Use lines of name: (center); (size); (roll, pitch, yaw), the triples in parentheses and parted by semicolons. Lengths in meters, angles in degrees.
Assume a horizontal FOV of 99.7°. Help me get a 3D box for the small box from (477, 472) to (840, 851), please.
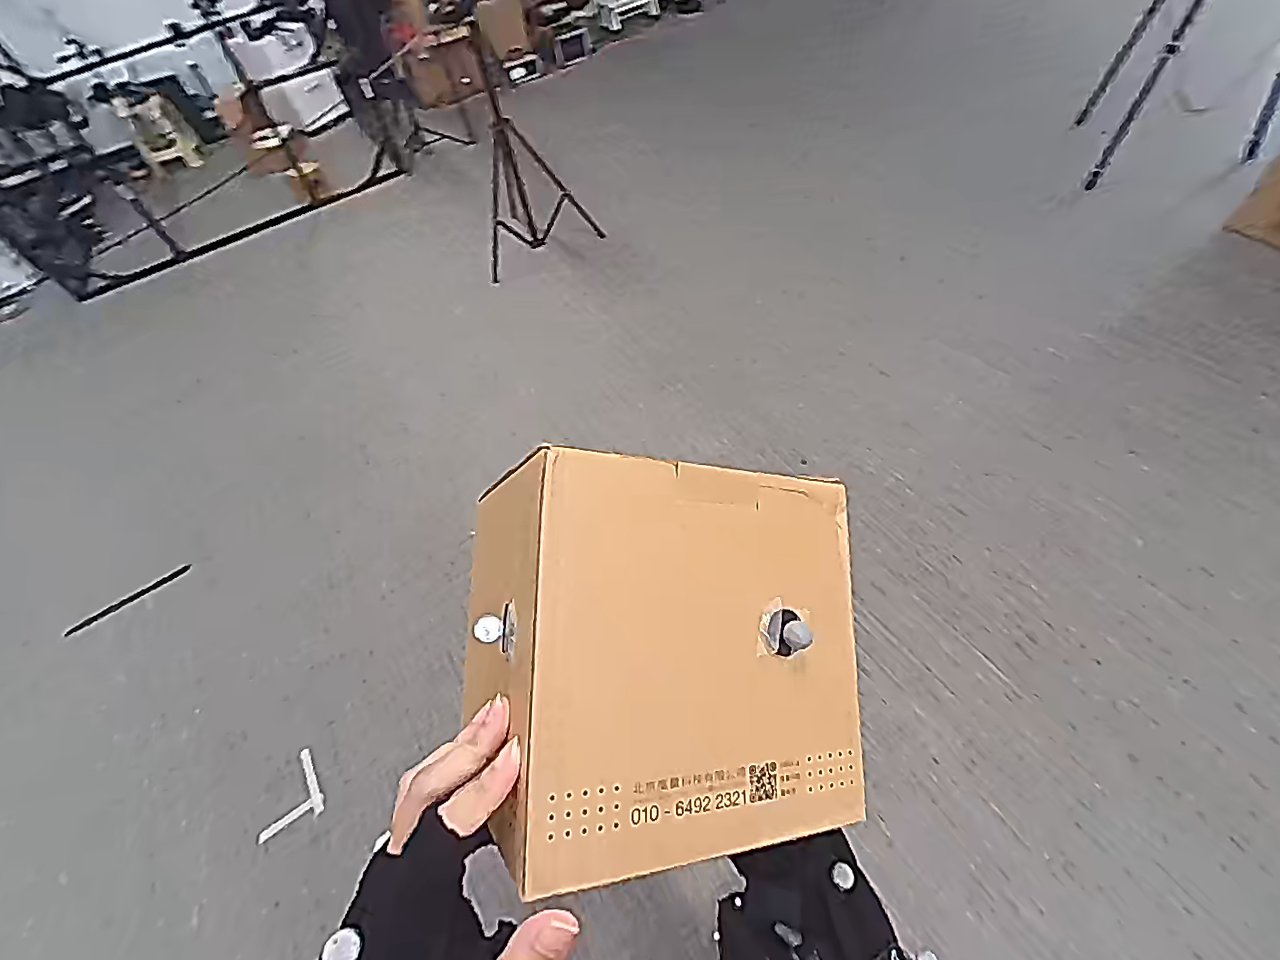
small box: (0.000, 0.098, 0.328); (0.168, 0.179, 0.176); (6, 77, -24)
